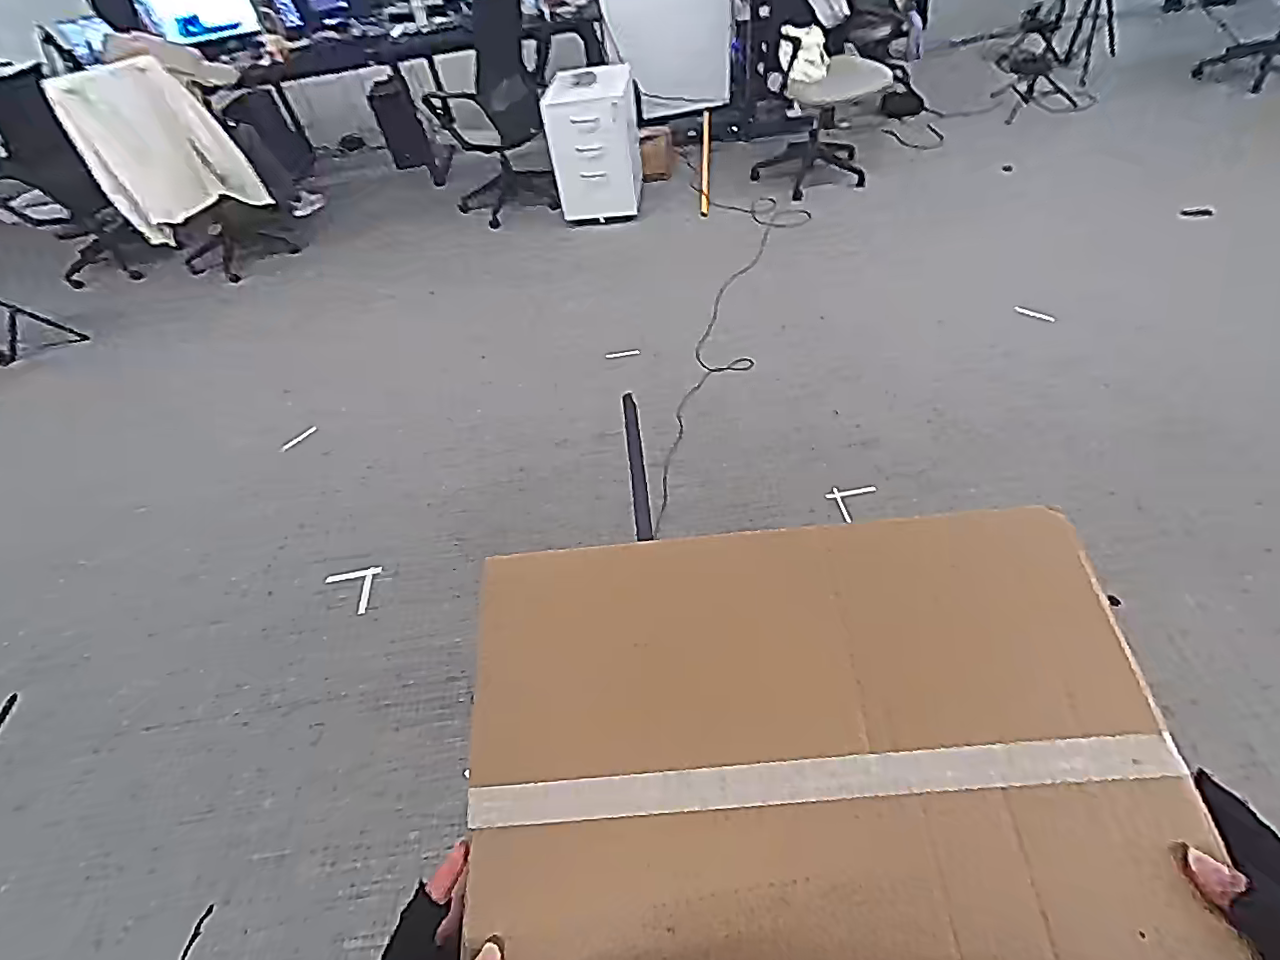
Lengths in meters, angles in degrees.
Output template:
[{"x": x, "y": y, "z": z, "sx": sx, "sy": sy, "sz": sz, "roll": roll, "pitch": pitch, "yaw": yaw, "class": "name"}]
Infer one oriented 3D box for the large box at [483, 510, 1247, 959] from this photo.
[{"x": 0.115, "y": 0.246, "z": 0.458, "sx": 0.408, "sy": 0.320, "sz": 0.320, "roll": -6, "pitch": 64, "yaw": 3, "class": "large box"}]
